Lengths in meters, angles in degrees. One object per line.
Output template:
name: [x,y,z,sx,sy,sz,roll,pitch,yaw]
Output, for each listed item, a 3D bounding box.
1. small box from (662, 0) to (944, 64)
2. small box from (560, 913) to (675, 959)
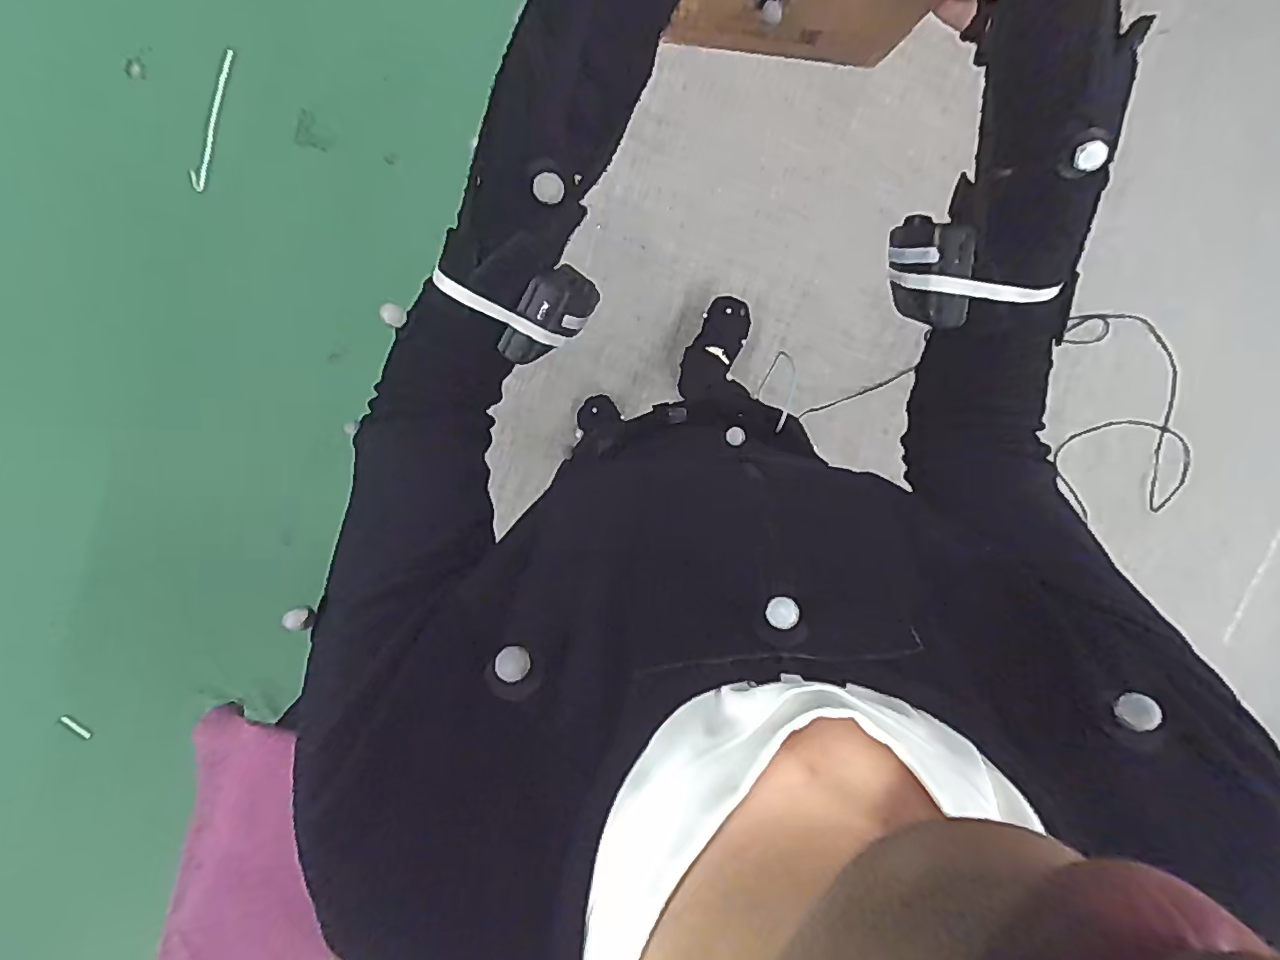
small box: [0.104,-0.360,0.271,0.168,0.176,0.179,2,103,-7]
small box: [-0.042,0.795,0.793,0.168,0.176,0.179,24,97,-8]
